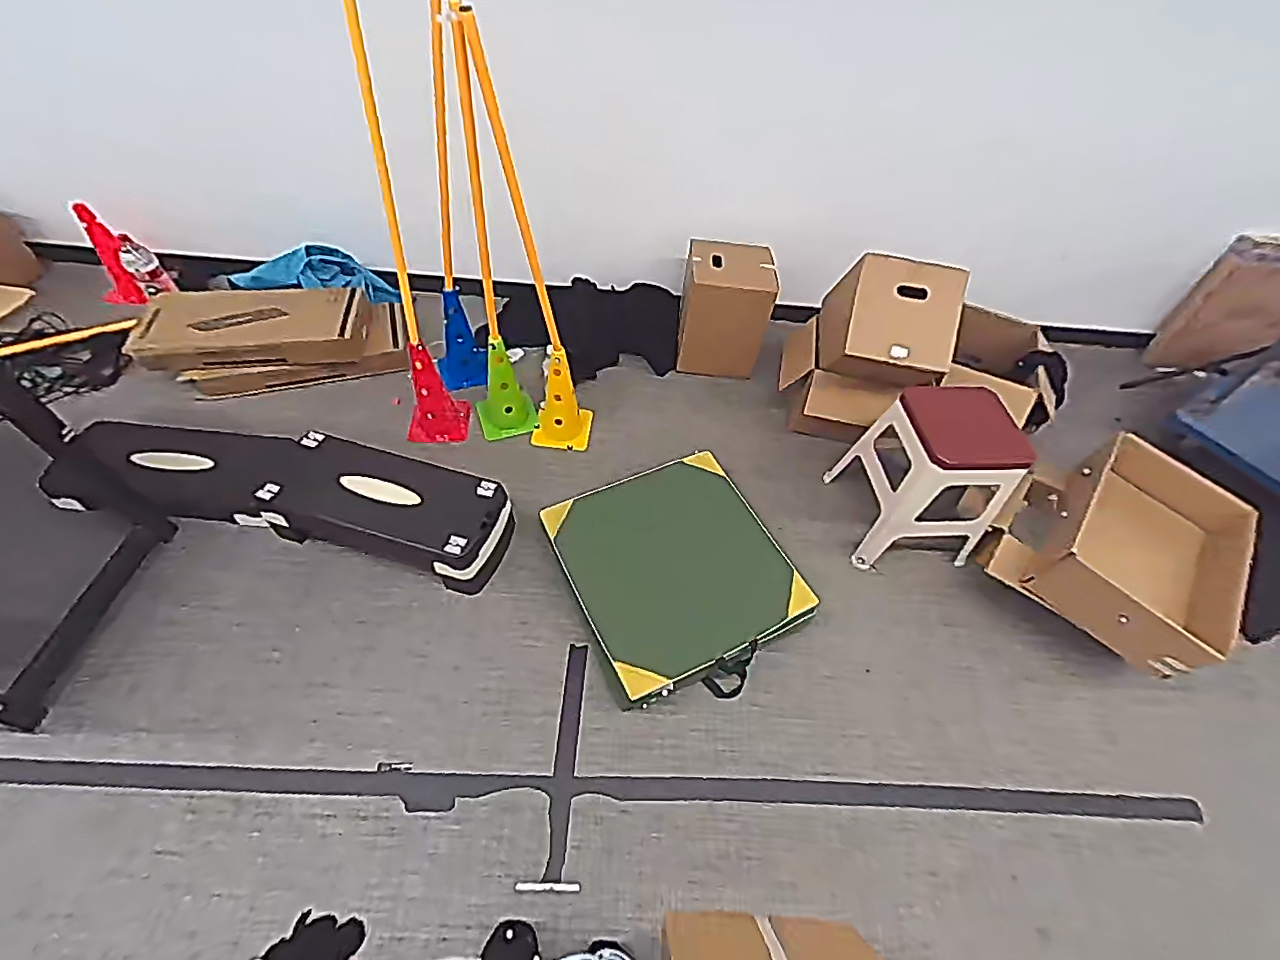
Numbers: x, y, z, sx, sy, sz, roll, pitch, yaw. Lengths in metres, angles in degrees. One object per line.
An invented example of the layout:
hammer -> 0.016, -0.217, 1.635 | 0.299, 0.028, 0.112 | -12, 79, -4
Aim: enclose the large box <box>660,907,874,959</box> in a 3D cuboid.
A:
large box -> 0.185, 0.811, 0.650 | 0.320, 0.408, 0.320 | 5, 78, -1
